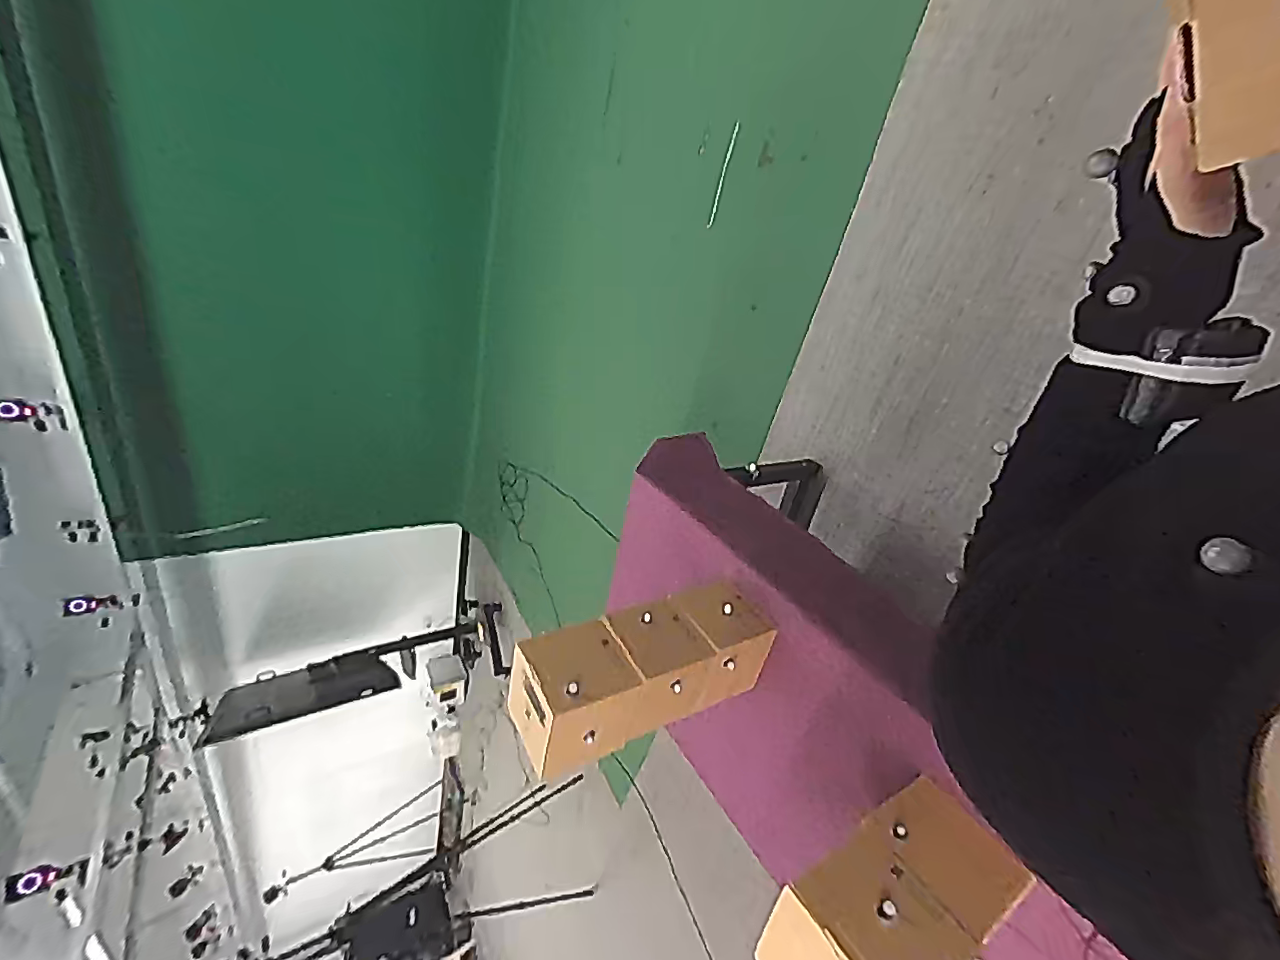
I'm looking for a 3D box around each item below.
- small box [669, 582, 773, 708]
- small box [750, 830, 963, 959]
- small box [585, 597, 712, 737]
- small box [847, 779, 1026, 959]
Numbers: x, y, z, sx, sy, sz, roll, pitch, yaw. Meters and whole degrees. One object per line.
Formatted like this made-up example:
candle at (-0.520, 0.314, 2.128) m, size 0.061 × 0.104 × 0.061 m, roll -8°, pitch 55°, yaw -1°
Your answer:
small box at (0.153, 0.338, 1.144) m, size 0.168 × 0.176 × 0.179 m, roll 44°, pitch 130°, yaw 45°
small box at (0.277, 0.602, 0.698) m, size 0.168 × 0.176 × 0.179 m, roll 41°, pitch 127°, yaw 48°
small box at (0.016, 0.355, 1.056) m, size 0.168 × 0.176 × 0.179 m, roll 46°, pitch 131°, yaw 44°
small box at (0.412, 0.584, 0.790) m, size 0.179 × 0.176 × 0.168 m, roll 41°, pitch 128°, yaw 47°
